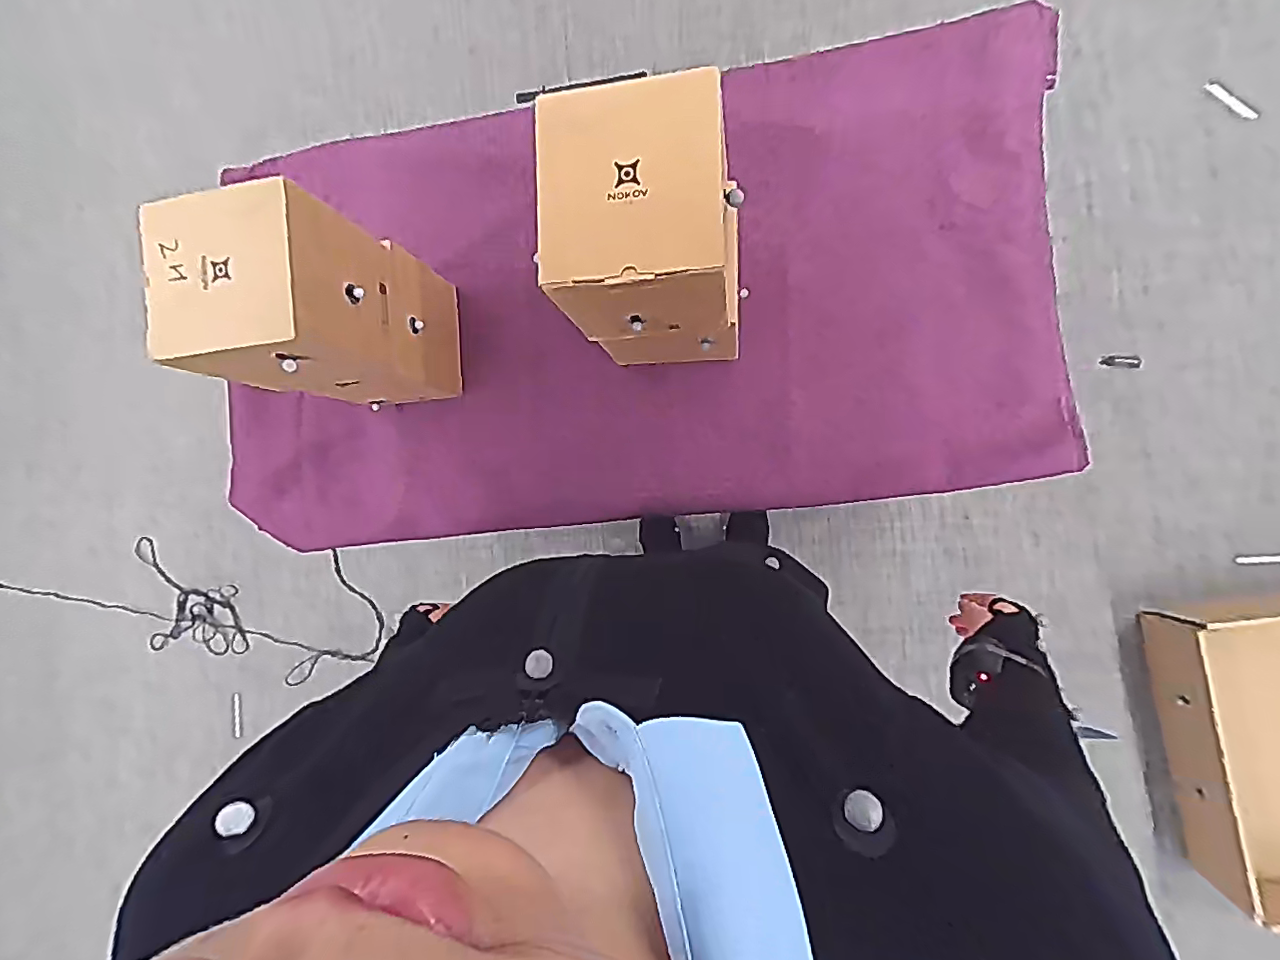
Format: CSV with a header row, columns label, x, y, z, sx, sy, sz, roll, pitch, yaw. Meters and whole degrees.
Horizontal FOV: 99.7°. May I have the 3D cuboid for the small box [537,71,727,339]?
label,x,y,z,sx,sy,sz,roll,pitch,yaw
small box,0.002,-0.256,0.546,0.168,0.176,0.179,-2,88,10

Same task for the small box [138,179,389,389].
label,x,y,z,sx,sy,sz,roll,pitch,yaw
small box,-0.409,-0.206,0.617,0.179,0.176,0.168,-5,88,10

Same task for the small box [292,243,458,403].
label,x,y,z,sx,sy,sz,roll,pitch,yaw
small box,-0.378,-0.211,0.779,0.168,0.176,0.179,-4,87,10
